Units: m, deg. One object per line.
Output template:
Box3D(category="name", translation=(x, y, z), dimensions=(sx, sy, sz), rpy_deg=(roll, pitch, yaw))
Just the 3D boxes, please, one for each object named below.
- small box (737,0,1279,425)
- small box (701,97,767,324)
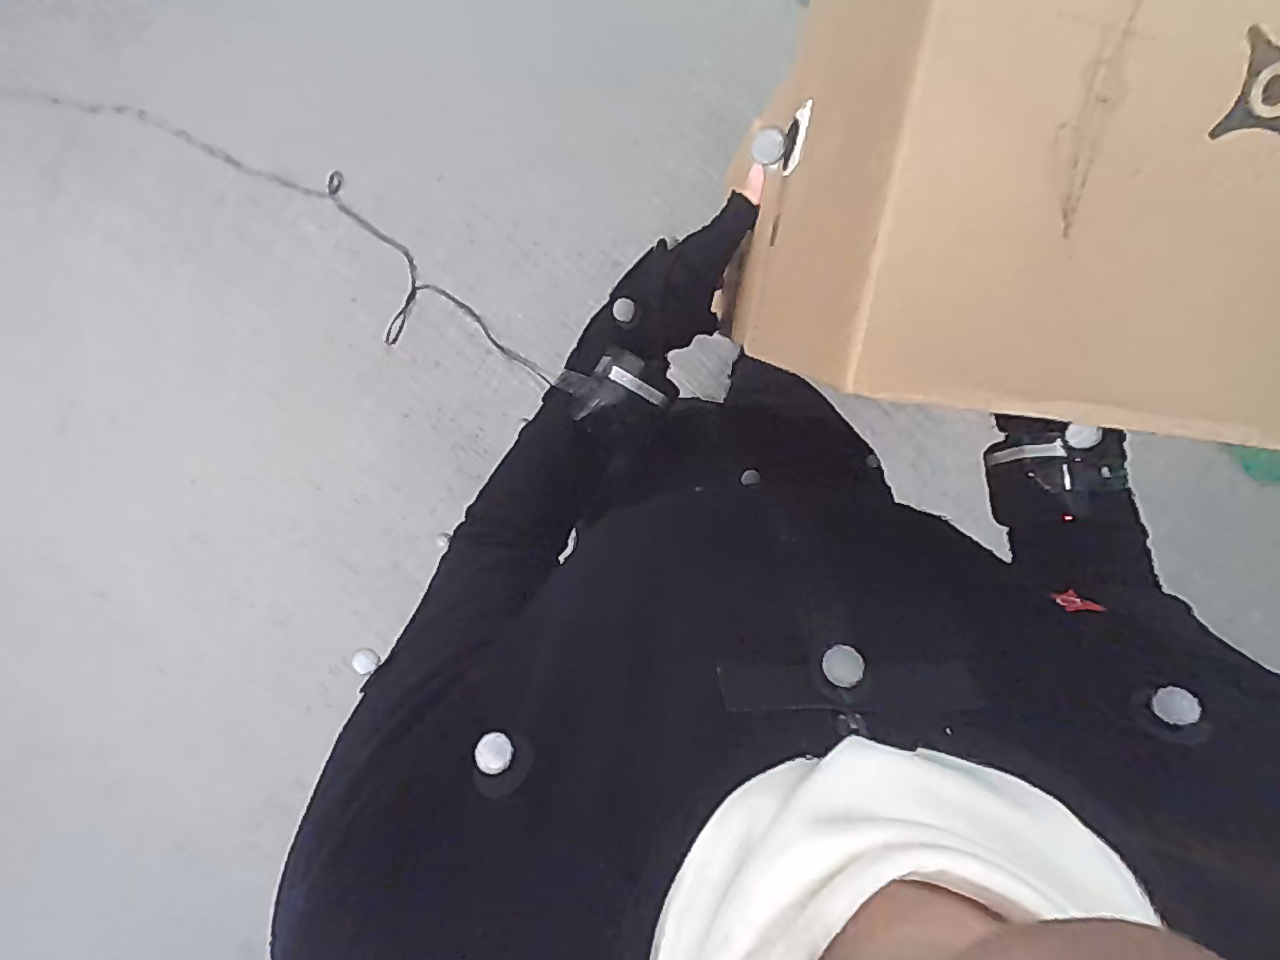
Box3D(category="small box", translation=(0.143, -0.121, 0.206), dimensions=(0.179, 0.176, 0.168), rpy_deg=(5, 106, 1))
Box3D(category="small box", translation=(0.163, -0.226, 0.512), dimensions=(0.179, 0.176, 0.168), rpy_deg=(8, 106, -1))
